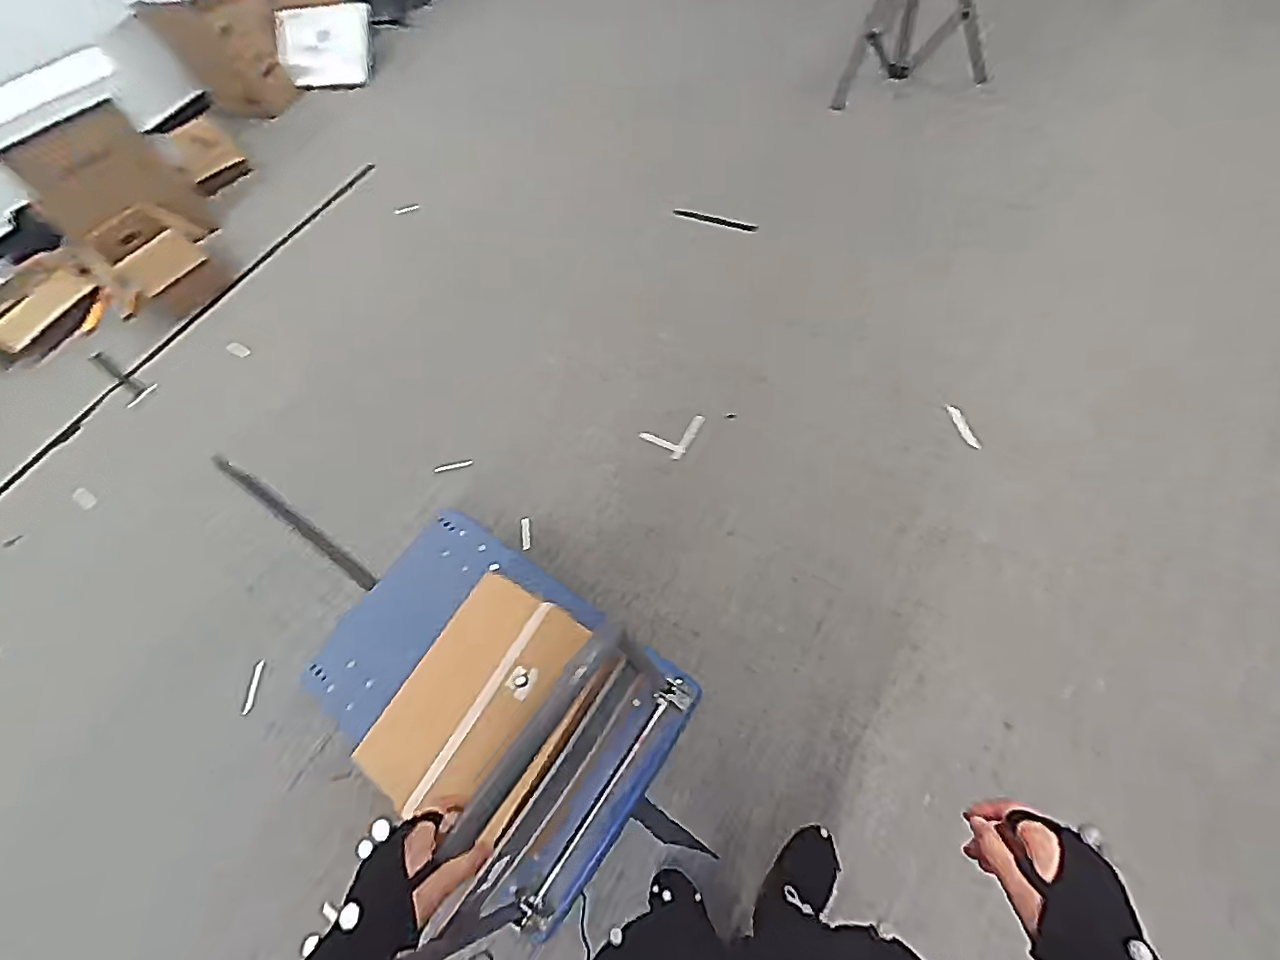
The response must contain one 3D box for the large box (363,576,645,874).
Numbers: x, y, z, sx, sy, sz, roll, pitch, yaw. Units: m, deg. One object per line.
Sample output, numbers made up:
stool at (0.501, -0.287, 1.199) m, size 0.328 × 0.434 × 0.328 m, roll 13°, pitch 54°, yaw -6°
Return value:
large box at (-0.240, 0.479, 1.089) m, size 0.320 × 0.320 × 0.408 m, roll 25°, pitch 68°, yaw 23°
